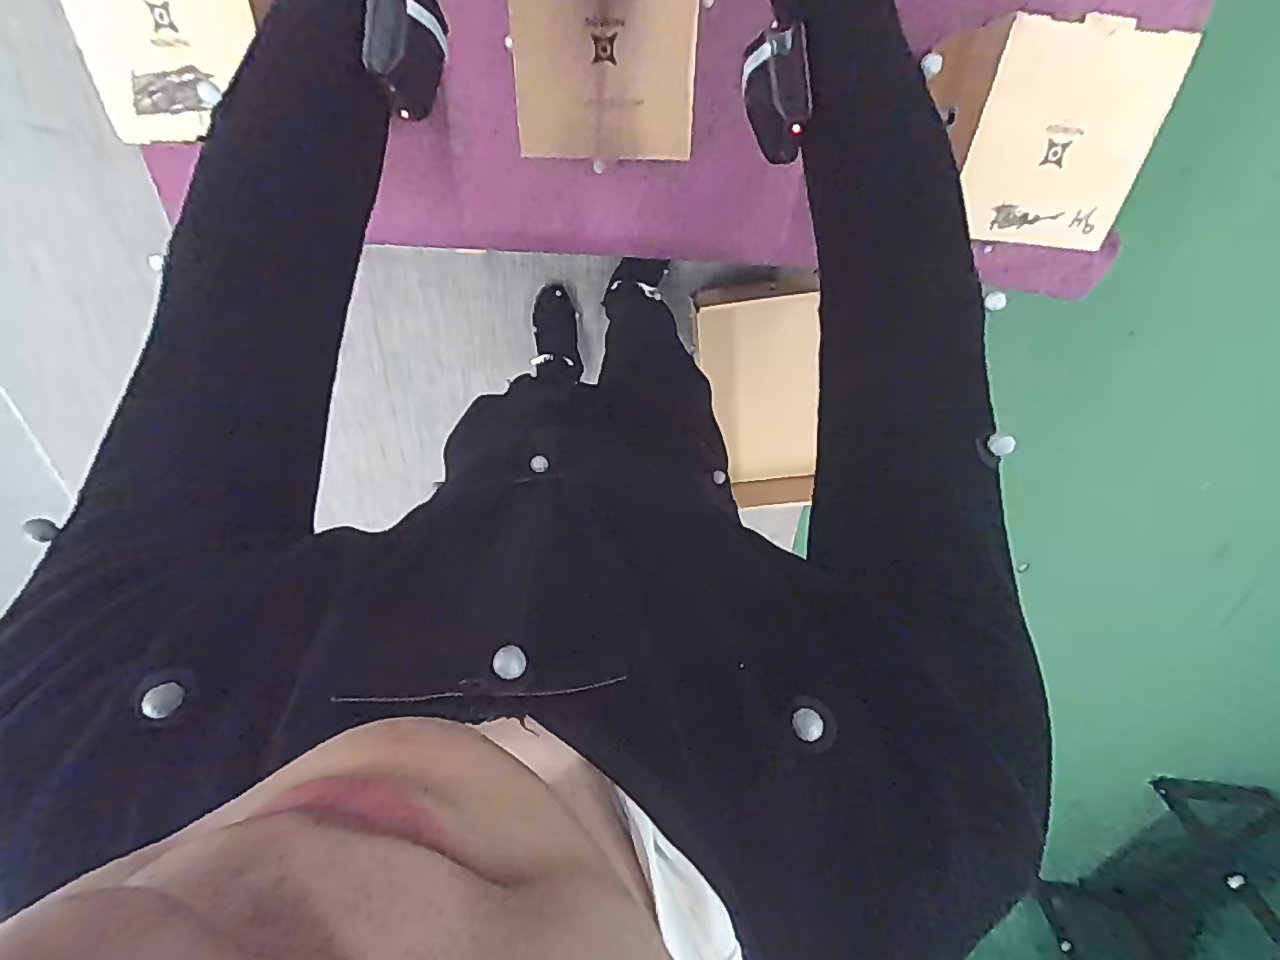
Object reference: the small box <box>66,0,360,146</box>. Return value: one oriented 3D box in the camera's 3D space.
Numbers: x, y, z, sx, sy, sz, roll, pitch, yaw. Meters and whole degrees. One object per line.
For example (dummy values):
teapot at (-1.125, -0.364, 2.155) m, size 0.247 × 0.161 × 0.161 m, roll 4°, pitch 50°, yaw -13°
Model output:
small box at (-0.410, -0.440, 0.541) m, size 0.168 × 0.176 × 0.179 m, roll 2°, pitch 121°, yaw 0°

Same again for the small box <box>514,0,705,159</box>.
small box at (-0.026, -0.426, 0.540) m, size 0.168 × 0.176 × 0.179 m, roll 3°, pitch 122°, yaw 1°

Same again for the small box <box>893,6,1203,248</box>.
small box at (0.394, -0.355, 0.568) m, size 0.168 × 0.176 × 0.179 m, roll 6°, pitch 120°, yaw 0°
